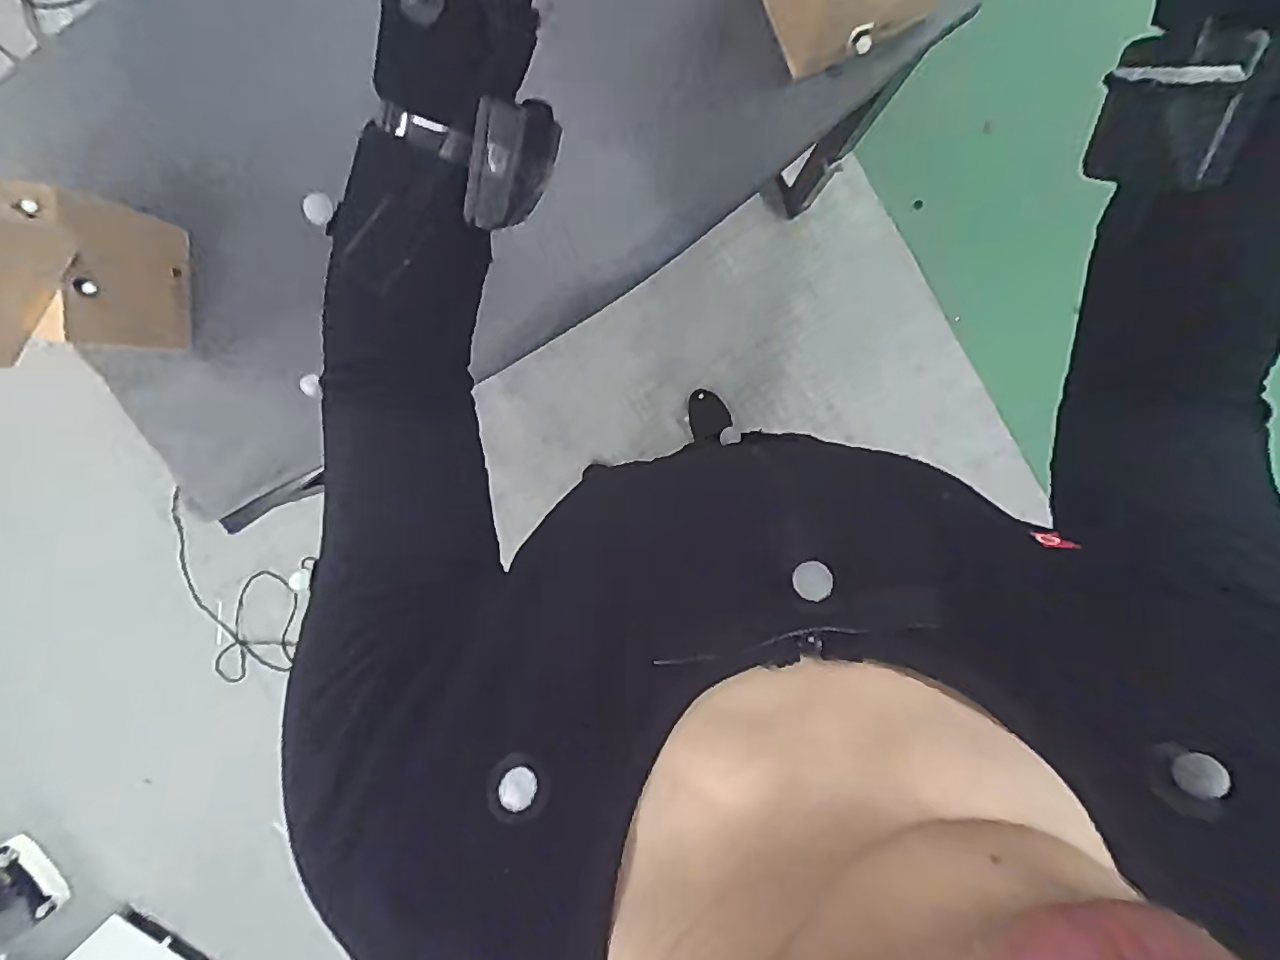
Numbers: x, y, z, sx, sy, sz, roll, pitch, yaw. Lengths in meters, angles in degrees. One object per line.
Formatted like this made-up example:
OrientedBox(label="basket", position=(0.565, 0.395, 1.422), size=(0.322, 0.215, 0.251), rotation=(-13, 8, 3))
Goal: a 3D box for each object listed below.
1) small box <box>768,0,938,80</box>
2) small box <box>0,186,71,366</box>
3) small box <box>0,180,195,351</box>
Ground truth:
OrientedBox(label="small box", position=(0.219, -0.569, 0.548), size=(0.168, 0.176, 0.179), rotation=(-23, 95, 9))
OrientedBox(label="small box", position=(-0.710, -0.223, 0.504), size=(0.168, 0.176, 0.179), rotation=(39, 100, -5))
OrientedBox(label="small box", position=(-0.703, -0.255, 0.666), size=(0.179, 0.176, 0.168), rotation=(8, 101, 2))
